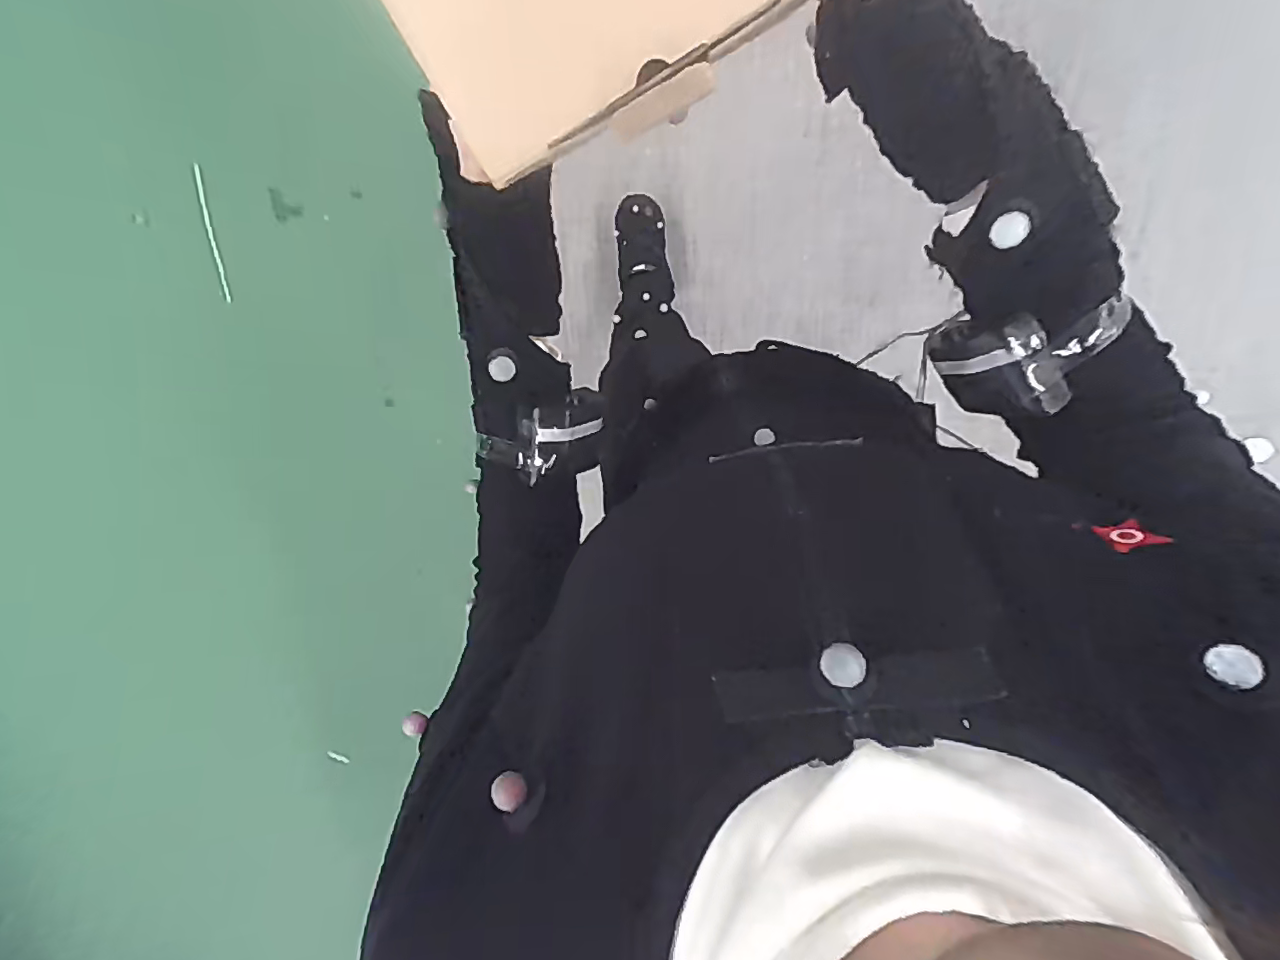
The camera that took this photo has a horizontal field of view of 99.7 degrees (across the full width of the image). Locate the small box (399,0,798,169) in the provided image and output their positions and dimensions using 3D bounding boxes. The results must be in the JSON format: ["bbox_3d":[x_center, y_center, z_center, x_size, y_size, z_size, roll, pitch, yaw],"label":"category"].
[{"bbox_3d":[-0.024,-0.276,0.241,0.168,0.176,0.179,-19,122,19],"label":"small box"}]
